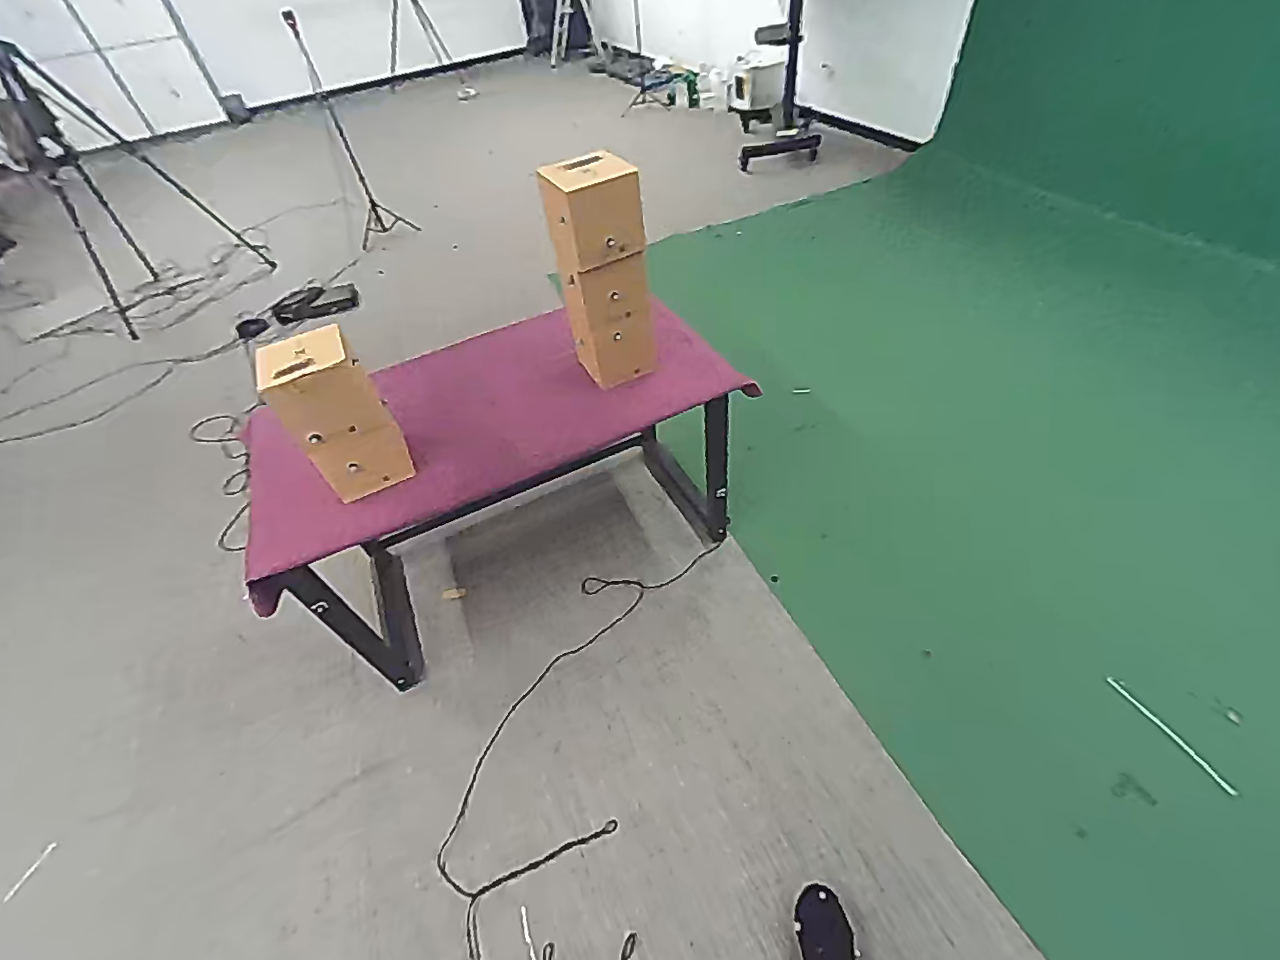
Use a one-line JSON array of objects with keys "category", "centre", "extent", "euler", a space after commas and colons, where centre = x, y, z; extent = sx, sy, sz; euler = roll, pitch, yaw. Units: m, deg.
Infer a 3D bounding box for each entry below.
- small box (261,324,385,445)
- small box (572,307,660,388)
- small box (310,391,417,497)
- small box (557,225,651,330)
[{"category": "small box", "centre": [-0.659, -0.193, 1.135], "extent": [0.168, 0.176, 0.179], "euler": [-25, 48, -14]}, {"category": "small box", "centre": [-0.062, -0.373, 1.429], "extent": [0.168, 0.176, 0.179], "euler": [-25, 48, -12]}, {"category": "small box", "centre": [-0.641, -0.083, 1.257], "extent": [0.168, 0.176, 0.179], "euler": [-25, 49, -14]}, {"category": "small box", "centre": [-0.083, -0.485, 1.309], "extent": [0.168, 0.176, 0.179], "euler": [-22, 47, -12]}]
